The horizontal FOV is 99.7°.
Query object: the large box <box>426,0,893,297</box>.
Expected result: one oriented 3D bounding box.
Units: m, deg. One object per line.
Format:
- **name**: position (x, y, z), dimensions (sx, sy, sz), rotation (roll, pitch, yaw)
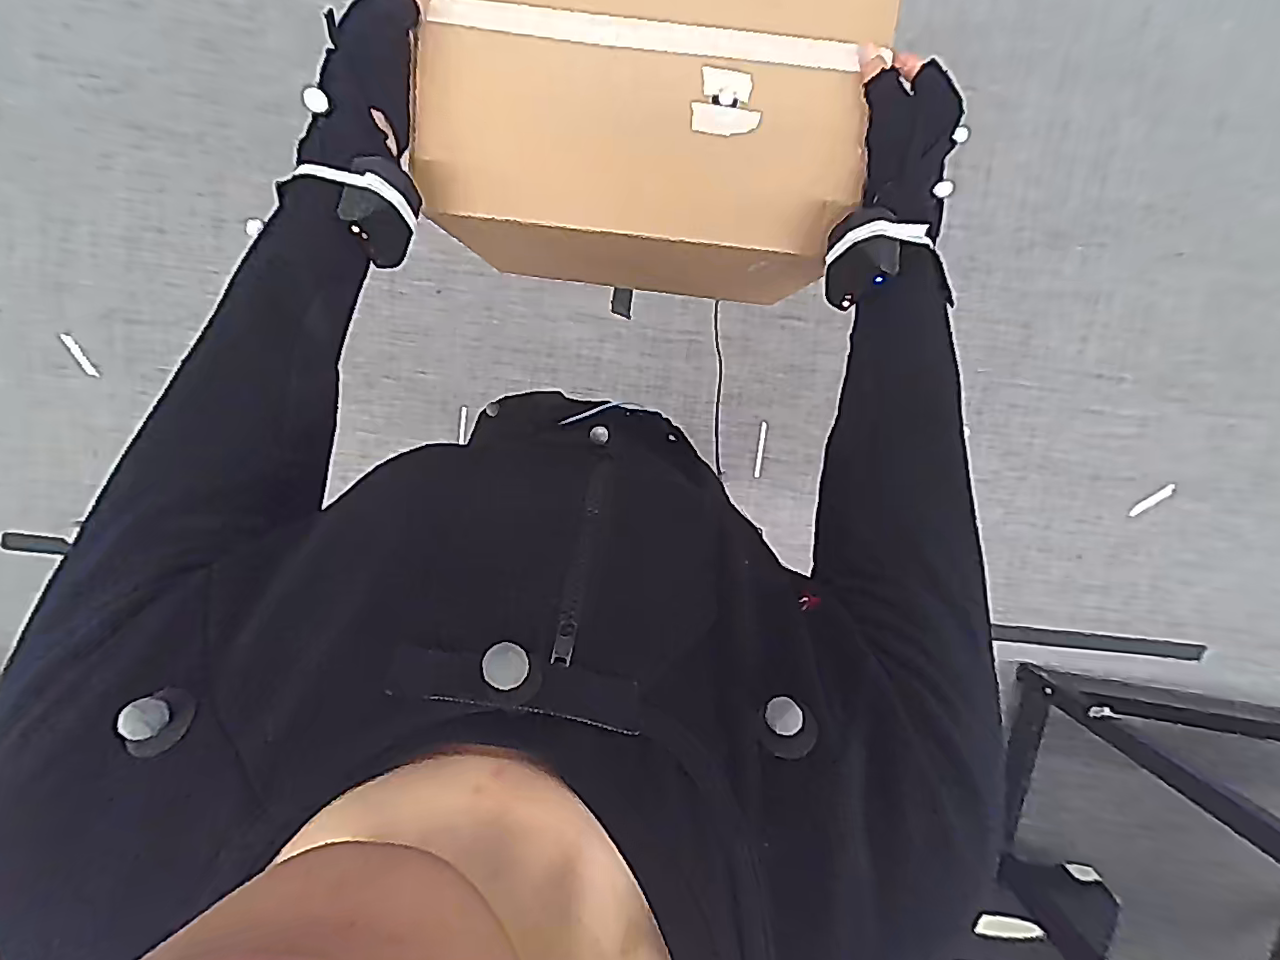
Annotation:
- **large box**: position (0.012, -0.406, 0.616), dimensions (0.408, 0.320, 0.320), rotation (6, 101, -2)
